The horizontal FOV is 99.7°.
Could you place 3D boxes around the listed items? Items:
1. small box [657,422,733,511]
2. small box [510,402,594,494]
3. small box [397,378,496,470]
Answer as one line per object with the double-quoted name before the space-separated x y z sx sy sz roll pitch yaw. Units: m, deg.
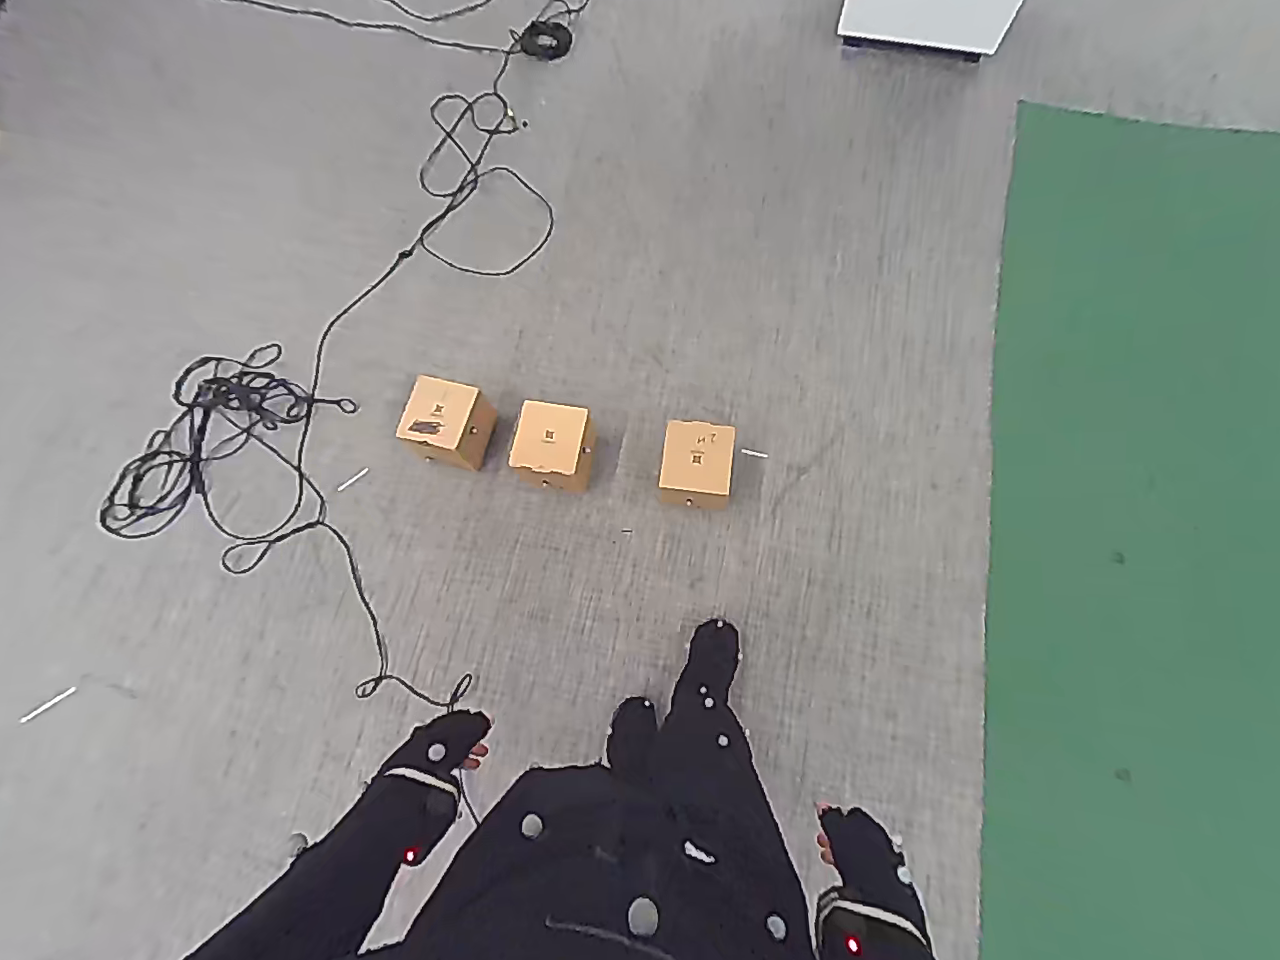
"small box" 0.136 -0.028 1.368 0.168 0.176 0.179 7 74 4
"small box" -0.219 -0.078 1.400 0.168 0.176 0.179 9 74 5
"small box" -0.502 -0.141 1.430 0.168 0.176 0.179 14 73 6
